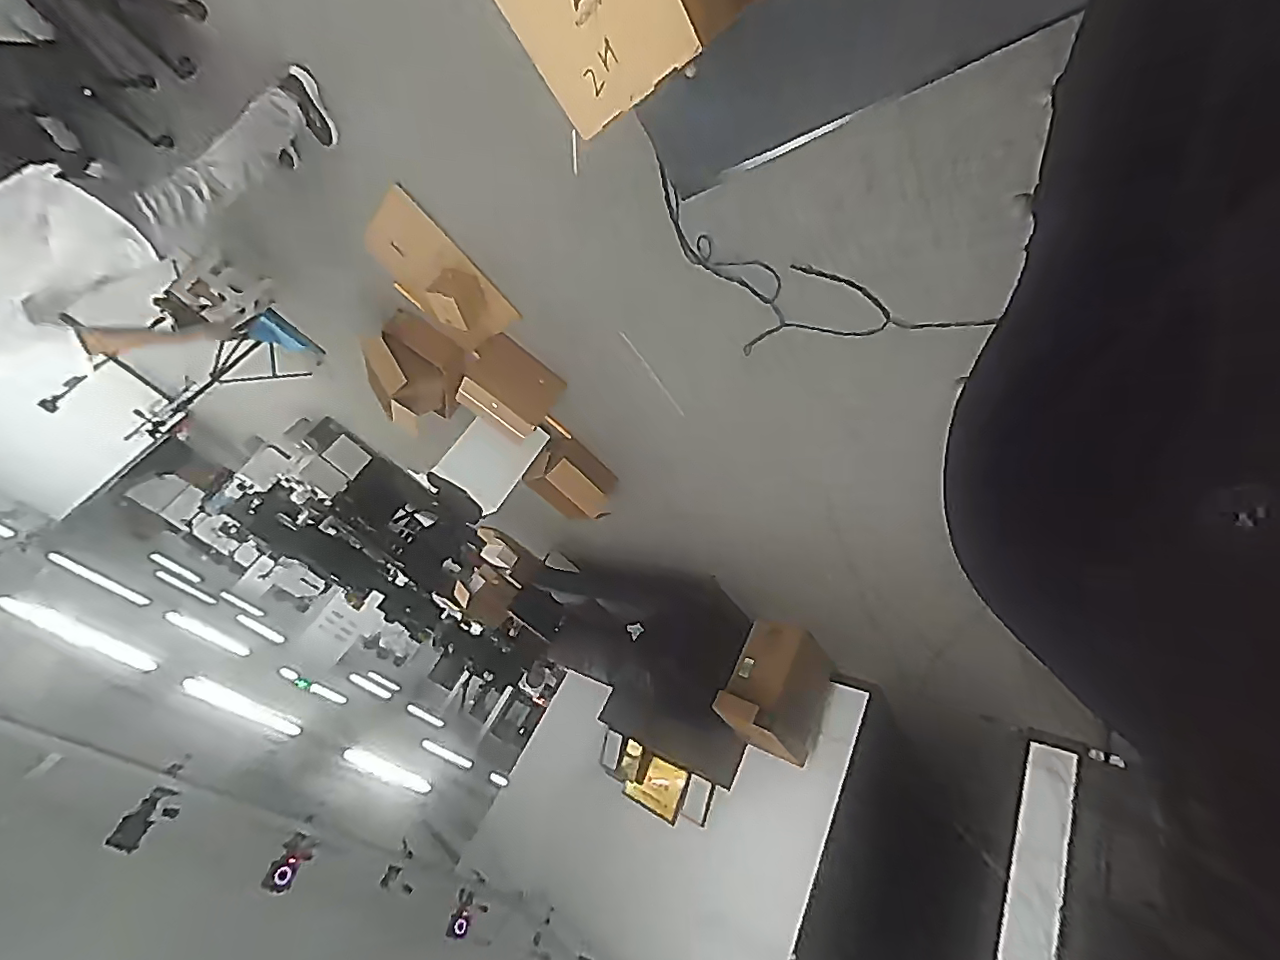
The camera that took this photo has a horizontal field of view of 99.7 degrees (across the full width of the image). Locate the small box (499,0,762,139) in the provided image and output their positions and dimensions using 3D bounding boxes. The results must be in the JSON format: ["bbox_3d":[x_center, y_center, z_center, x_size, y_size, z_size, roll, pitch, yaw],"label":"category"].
[{"bbox_3d":[-0.009,-0.474,0.504,0.168,0.176,0.179,-2,137,47],"label":"small box"}]
